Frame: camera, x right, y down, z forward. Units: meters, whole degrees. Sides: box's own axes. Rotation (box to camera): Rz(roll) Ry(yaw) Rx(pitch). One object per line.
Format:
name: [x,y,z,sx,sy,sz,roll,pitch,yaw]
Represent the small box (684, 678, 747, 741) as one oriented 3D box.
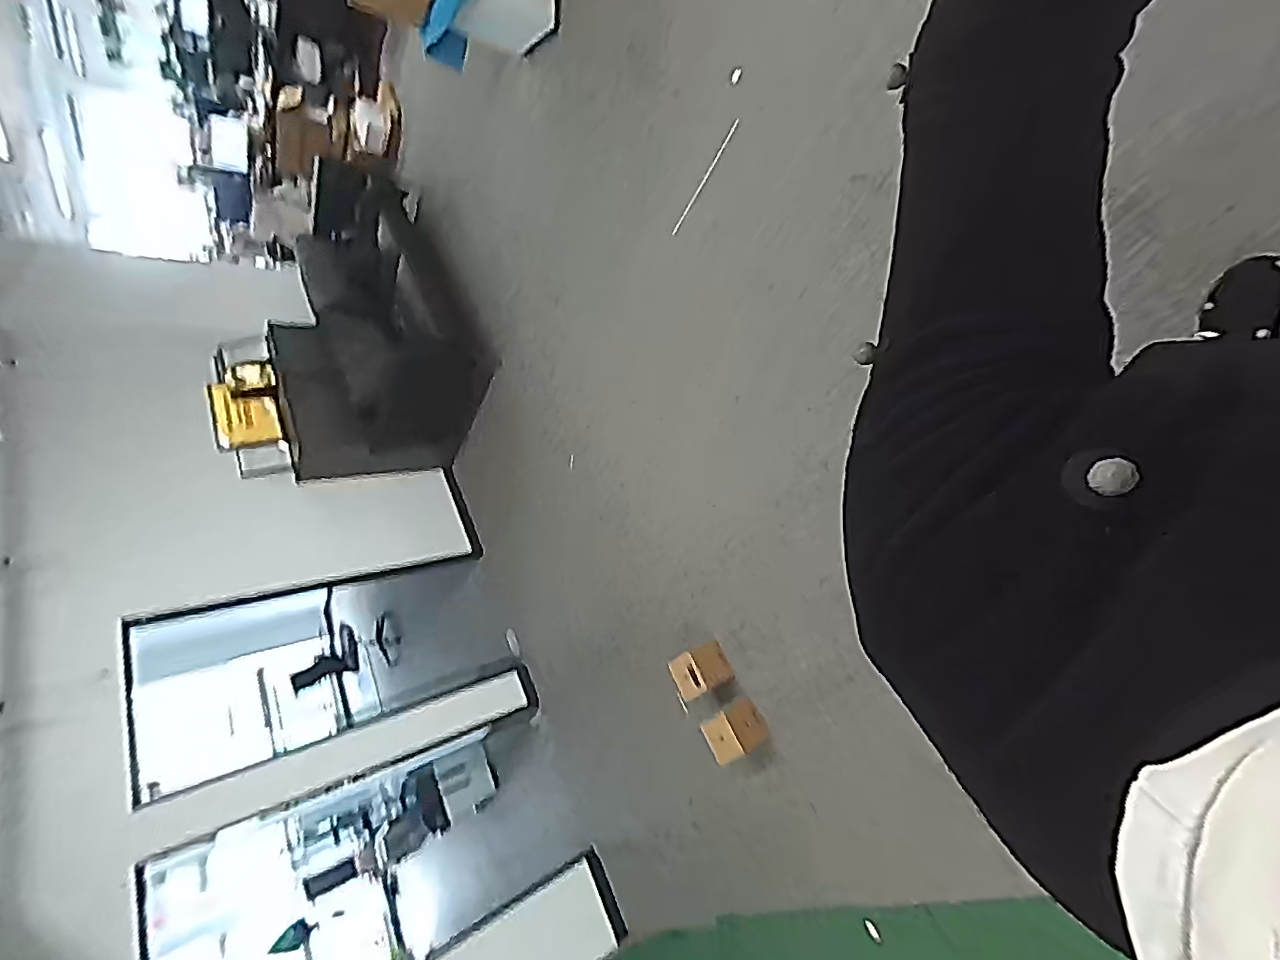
small box: [0.321,0.950,2.245,0.179,0.176,0.168,-50,60,42]
